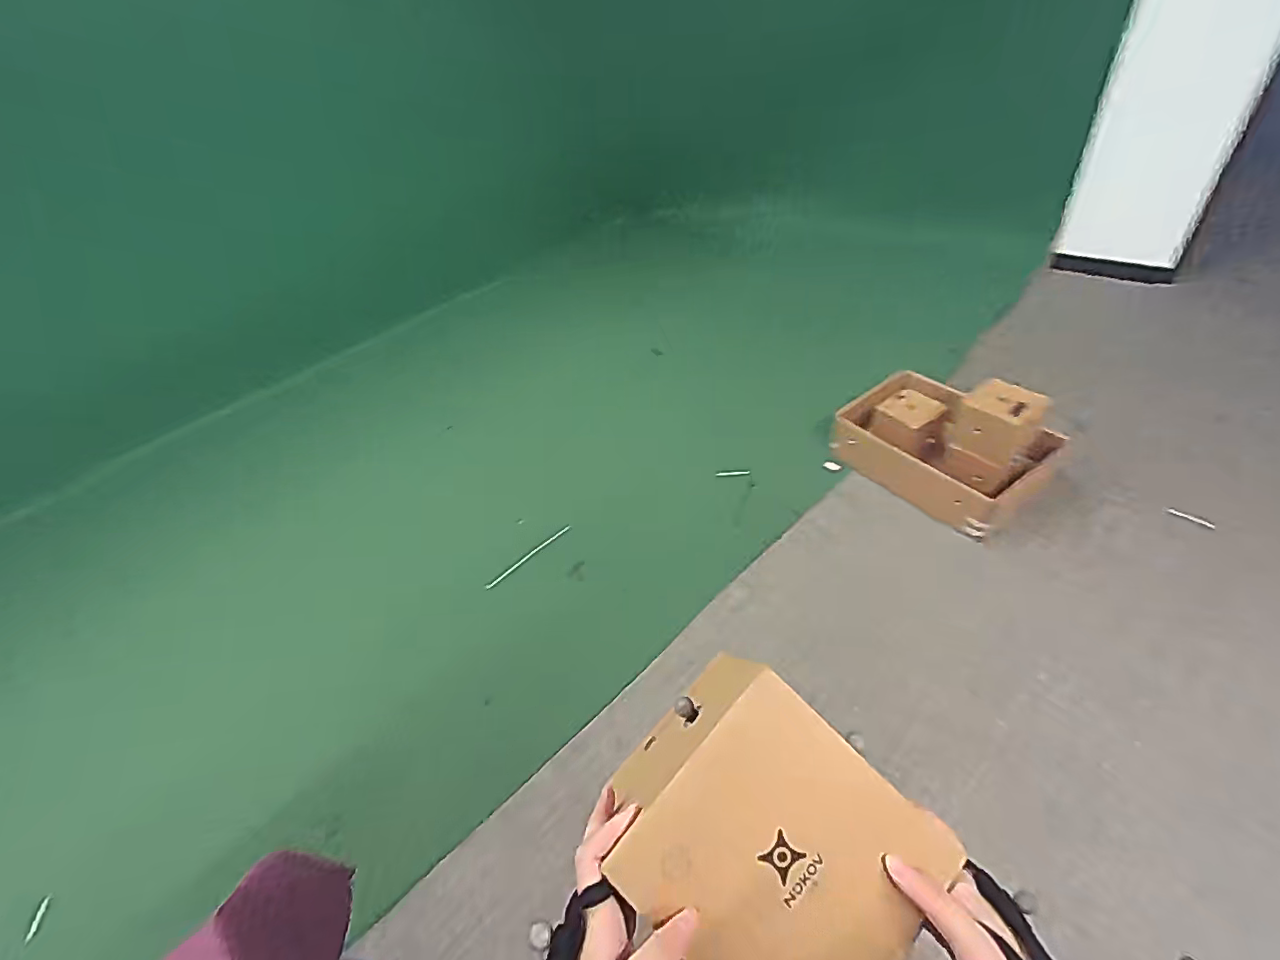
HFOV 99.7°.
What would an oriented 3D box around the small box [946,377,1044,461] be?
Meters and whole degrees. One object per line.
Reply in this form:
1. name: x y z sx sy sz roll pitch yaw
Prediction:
1. small box: 1.083 -0.183 1.662 0.168 0.176 0.179 -33 46 -18
